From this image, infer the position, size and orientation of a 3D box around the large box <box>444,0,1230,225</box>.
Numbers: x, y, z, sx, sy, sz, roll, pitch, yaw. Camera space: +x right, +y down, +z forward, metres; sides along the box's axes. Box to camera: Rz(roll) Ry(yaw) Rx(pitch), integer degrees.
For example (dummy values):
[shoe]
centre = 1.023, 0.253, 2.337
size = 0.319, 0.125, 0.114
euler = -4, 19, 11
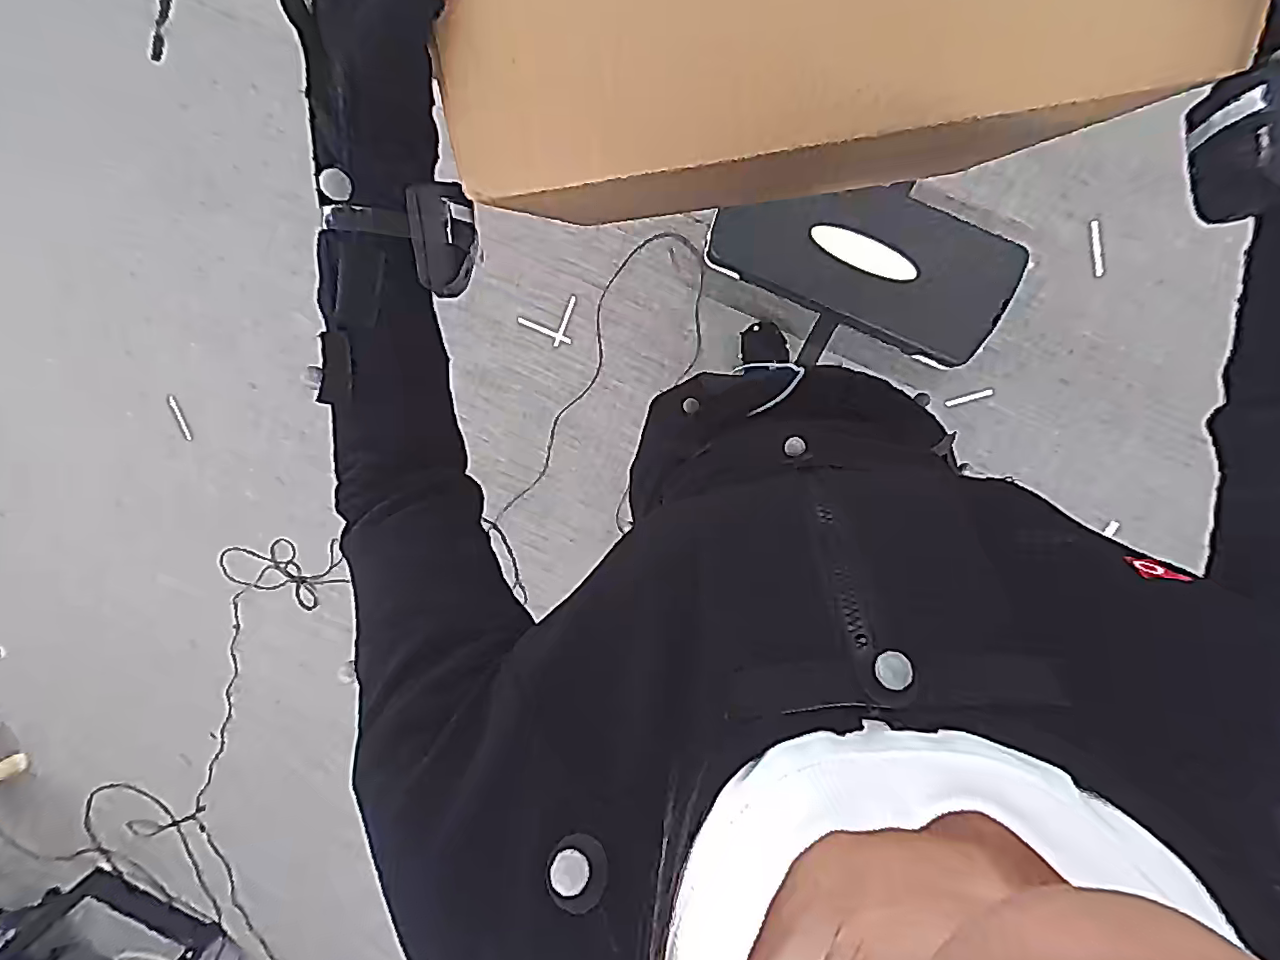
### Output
[large box]
centre = 0.091, -0.392, 0.388
size = 0.408, 0.320, 0.320
euler = -5, 112, 8
